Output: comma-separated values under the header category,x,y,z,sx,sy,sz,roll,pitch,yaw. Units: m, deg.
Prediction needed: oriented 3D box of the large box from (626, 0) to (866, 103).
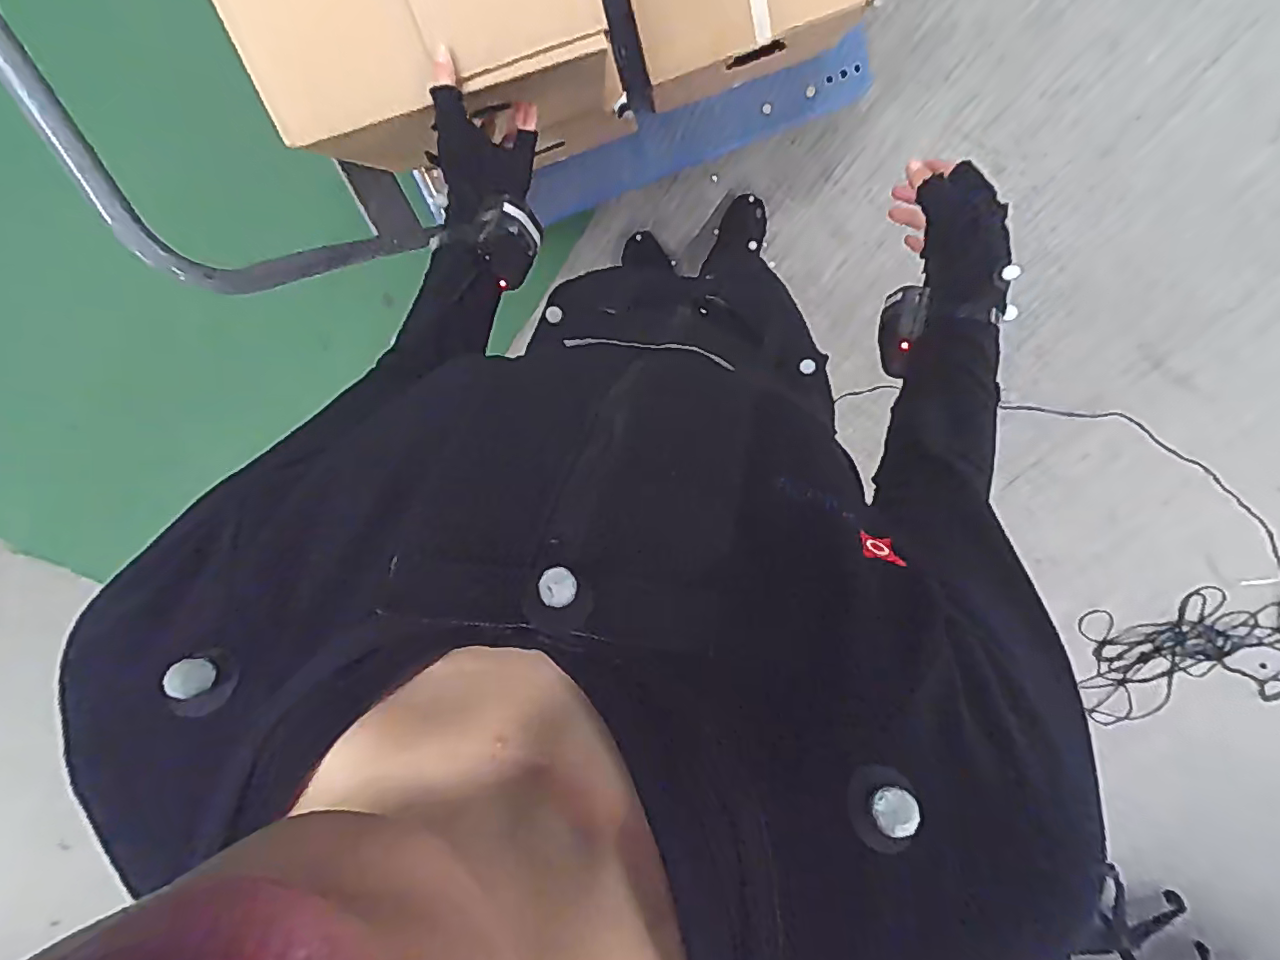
category,x,y,z,sx,sy,sz,roll,pitch,yaw
large box,0.106,-0.824,0.751,0.320,0.320,0.408,-14,117,10
